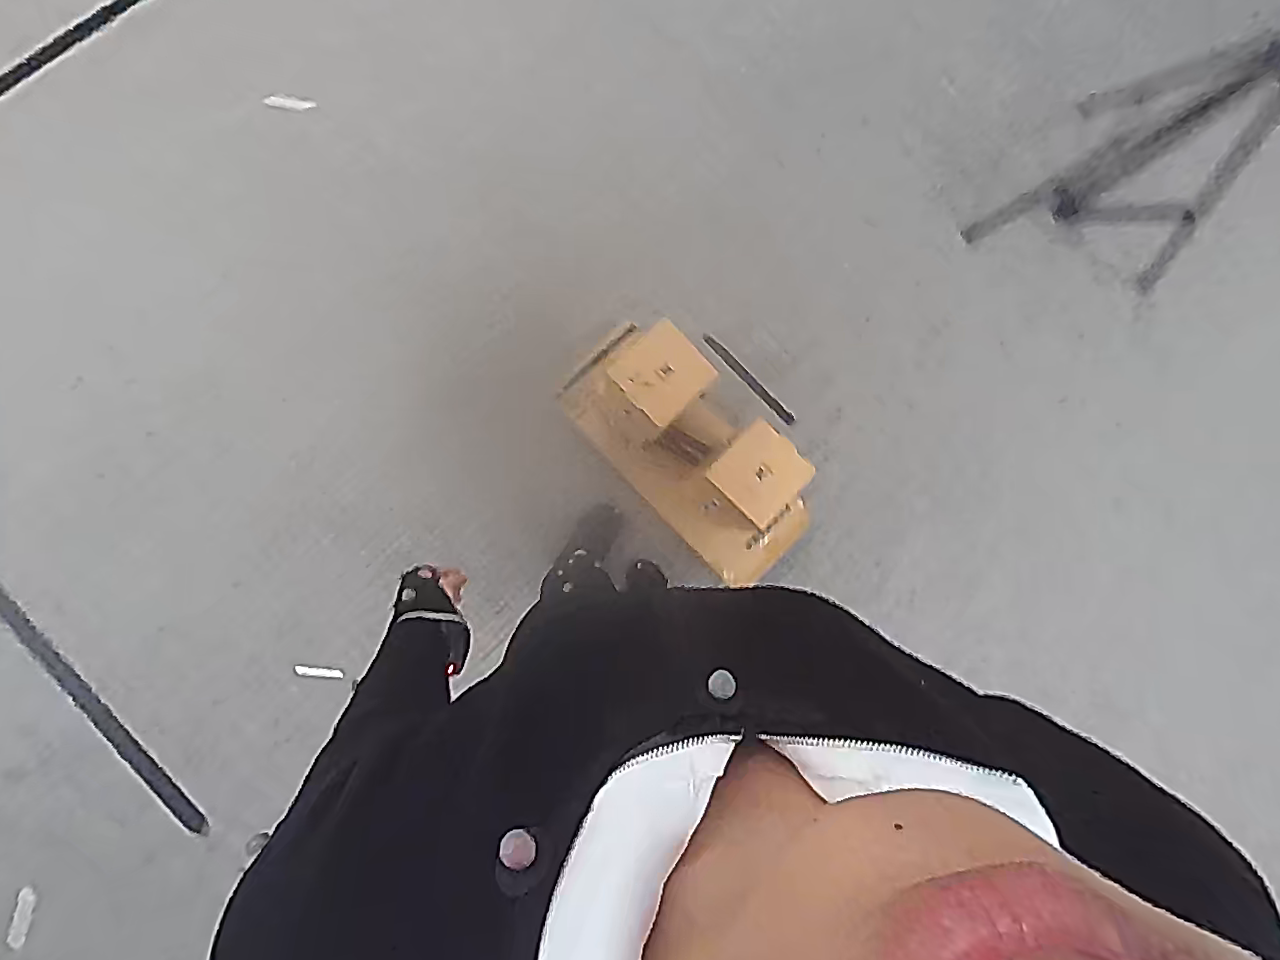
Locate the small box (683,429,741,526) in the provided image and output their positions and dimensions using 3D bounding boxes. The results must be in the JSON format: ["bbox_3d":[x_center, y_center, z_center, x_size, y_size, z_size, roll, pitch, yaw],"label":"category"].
[{"bbox_3d":[0.223,0.002,1.350,0.179,0.176,0.168,-42,87,-7],"label":"small box"}]

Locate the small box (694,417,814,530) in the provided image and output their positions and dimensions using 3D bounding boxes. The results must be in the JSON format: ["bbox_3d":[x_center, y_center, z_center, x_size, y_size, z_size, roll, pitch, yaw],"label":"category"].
[{"bbox_3d":[0.240,-0.008,1.187,0.168,0.176,0.179,44,83,2],"label":"small box"}]

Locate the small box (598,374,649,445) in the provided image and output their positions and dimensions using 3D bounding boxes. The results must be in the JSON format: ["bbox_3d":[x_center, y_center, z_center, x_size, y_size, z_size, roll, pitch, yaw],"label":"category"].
[{"bbox_3d":[0.009,-0.210,1.350,0.179,0.176,0.168,-44,90,-6],"label":"small box"}]

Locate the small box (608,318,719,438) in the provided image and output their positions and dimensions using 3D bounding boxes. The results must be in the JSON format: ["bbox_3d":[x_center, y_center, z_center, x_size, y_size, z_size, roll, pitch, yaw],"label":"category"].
[{"bbox_3d":[0.041,-0.216,1.187,0.179,0.176,0.168,-42,90,-7],"label":"small box"}]
